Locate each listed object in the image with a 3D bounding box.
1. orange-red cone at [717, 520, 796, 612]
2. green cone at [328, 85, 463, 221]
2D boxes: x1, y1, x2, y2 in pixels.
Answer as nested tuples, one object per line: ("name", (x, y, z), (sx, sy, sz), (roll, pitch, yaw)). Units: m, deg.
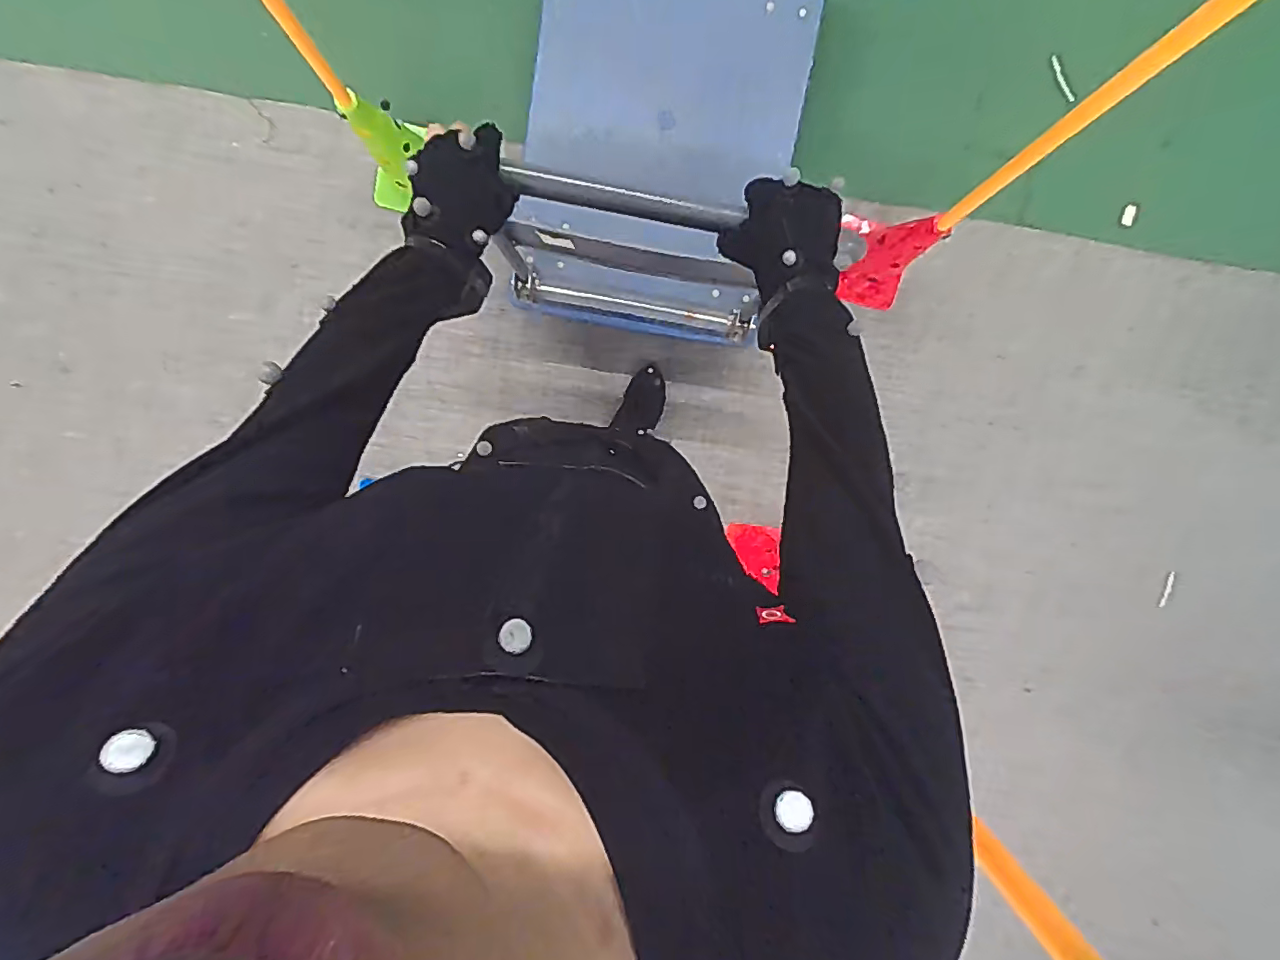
("orange-red cone", (0.323, 0.245, 1.356), (0.199, 0.360, 0.198), (8, 100, -1))
("green cone", (-0.544, -0.730, 1.159), (0.202, 0.368, 0.200), (13, 99, -2))
